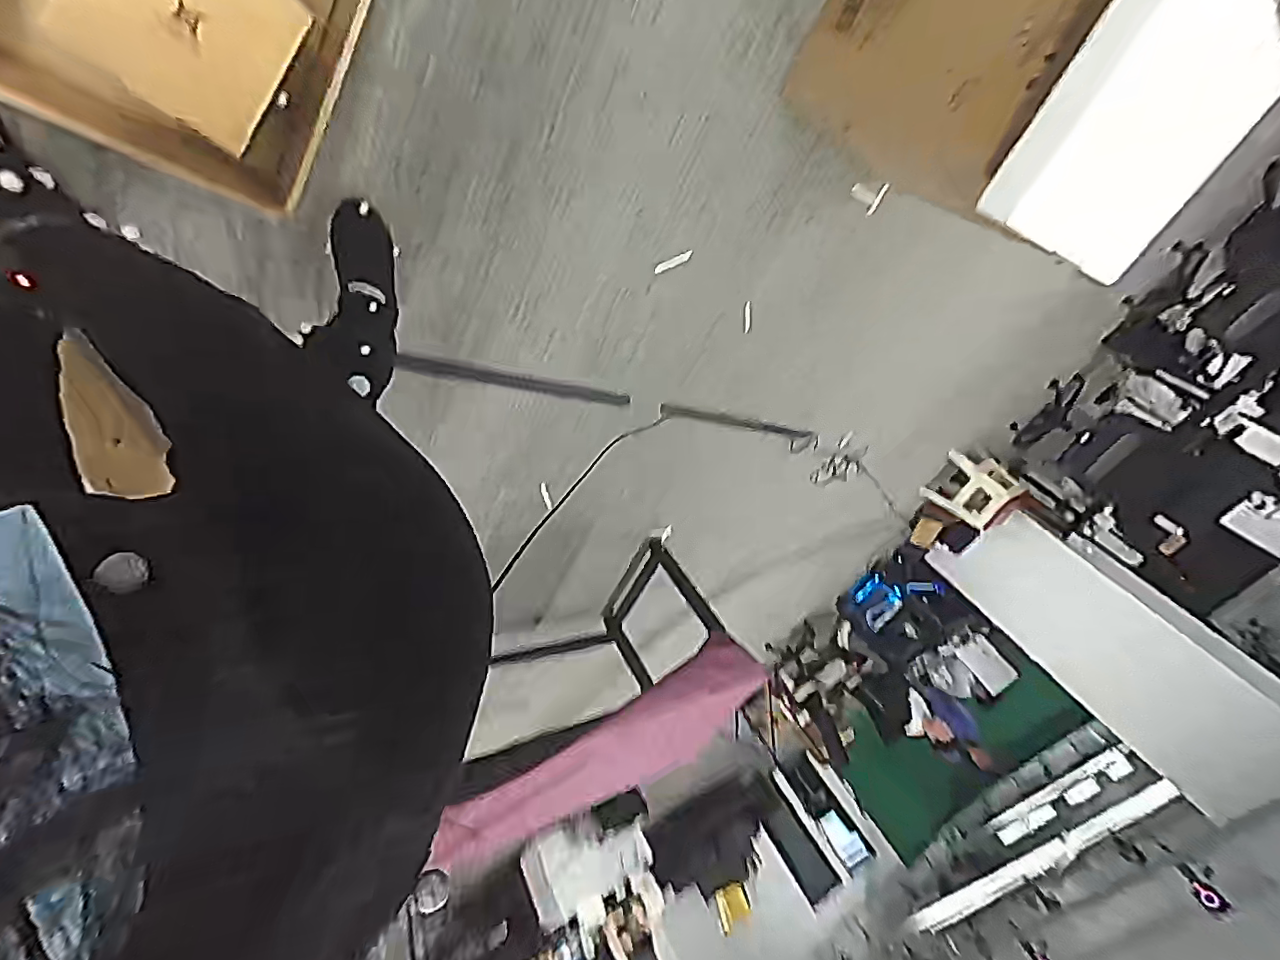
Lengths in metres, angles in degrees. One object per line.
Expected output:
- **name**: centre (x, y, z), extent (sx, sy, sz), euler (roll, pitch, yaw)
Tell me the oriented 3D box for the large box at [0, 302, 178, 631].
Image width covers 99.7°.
- **large box**: centre (-1.048, -0.014, 0.881), extent (0.320, 0.320, 0.408), euler (-20, 141, -23)
